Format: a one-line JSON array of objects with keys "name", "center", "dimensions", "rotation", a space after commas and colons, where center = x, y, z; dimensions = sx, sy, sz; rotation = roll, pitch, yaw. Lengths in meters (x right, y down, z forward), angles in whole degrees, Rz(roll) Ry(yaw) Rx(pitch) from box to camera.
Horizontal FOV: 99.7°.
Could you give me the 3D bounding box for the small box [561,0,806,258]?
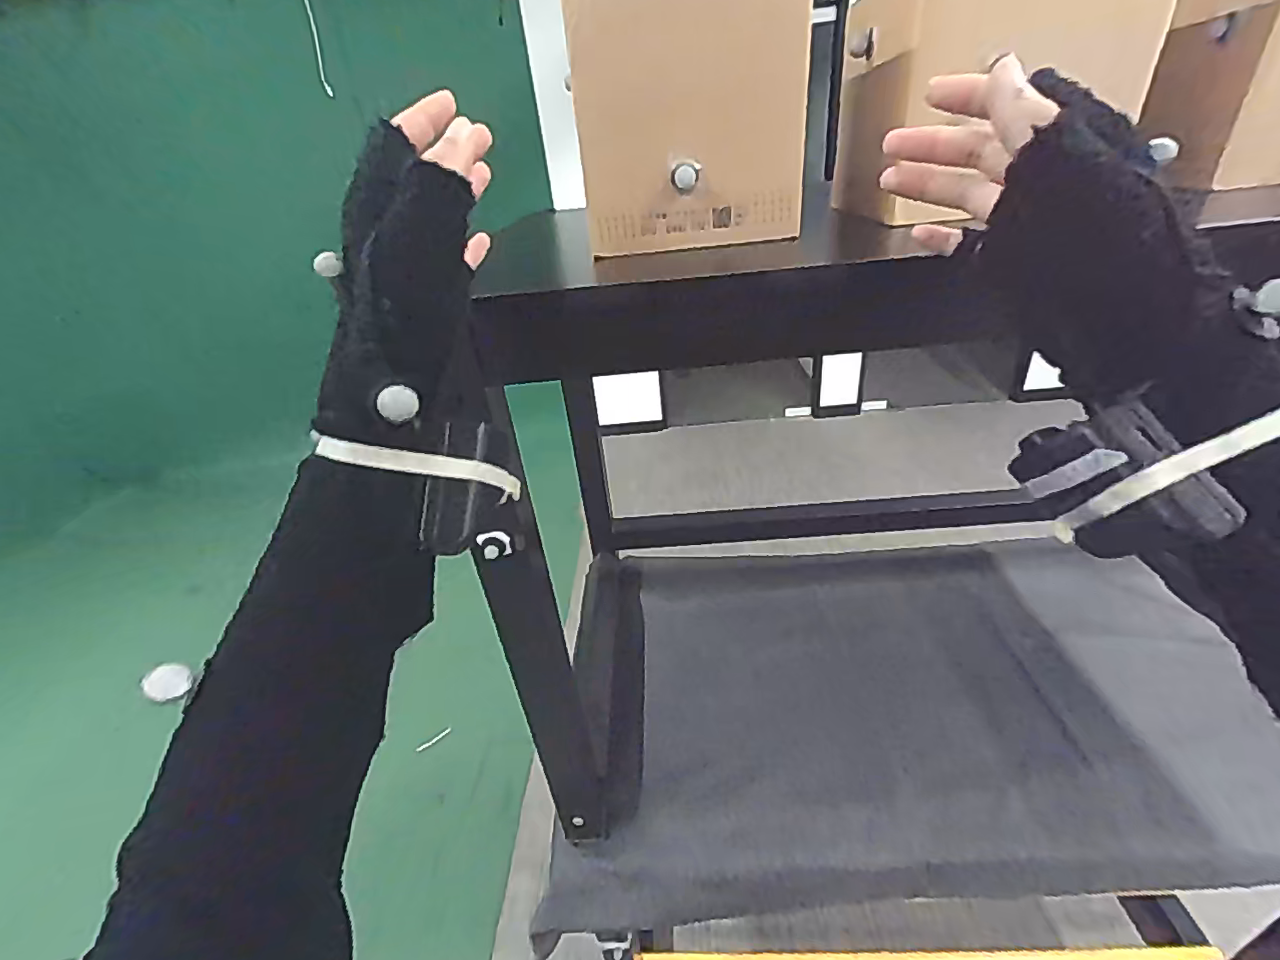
[{"name": "small box", "center": [0.035, -0.296, 0.468], "dimensions": [0.168, 0.176, 0.179], "rotation": [-5, 32, 3]}]
